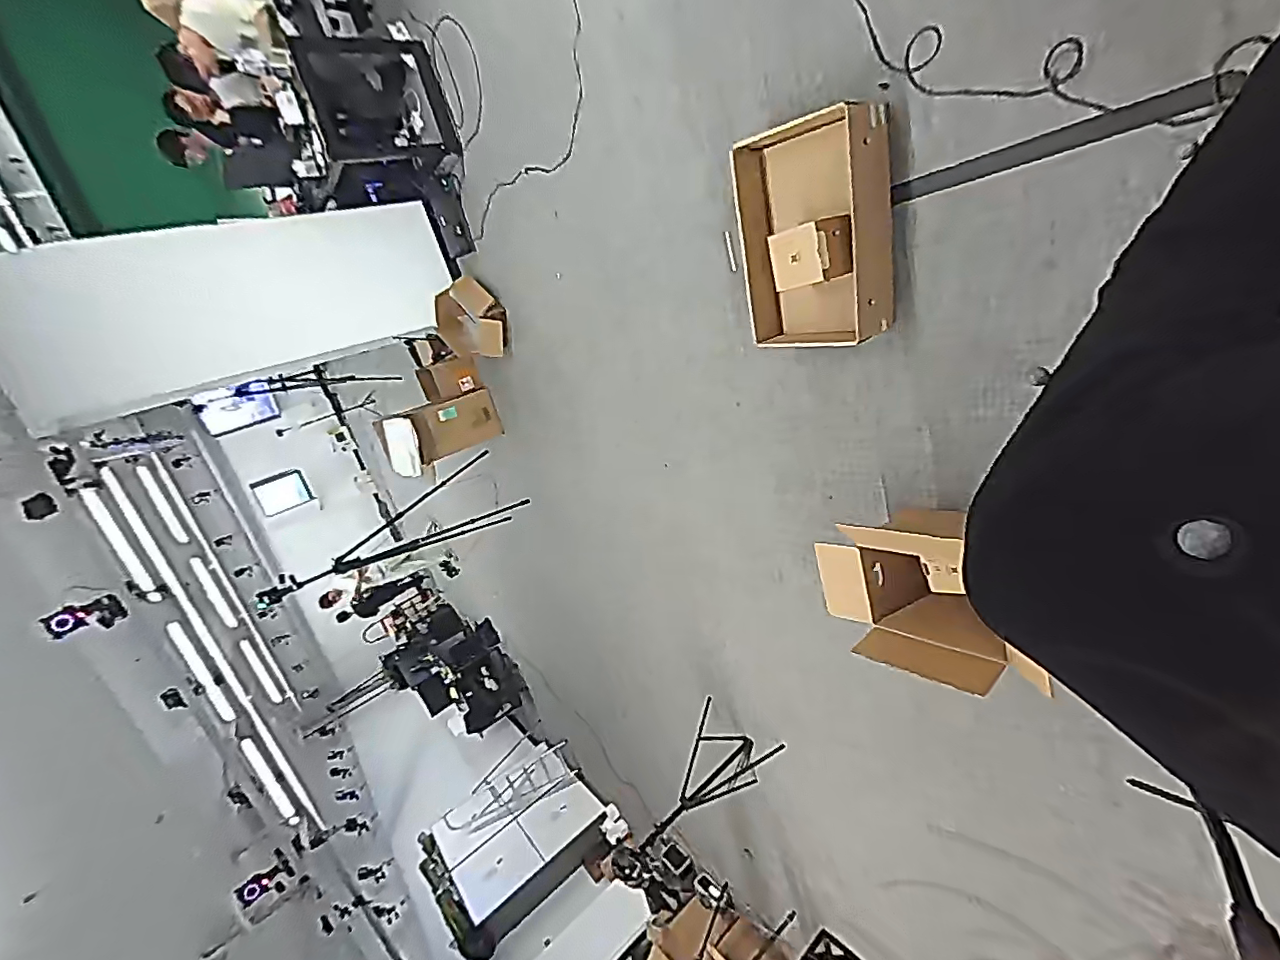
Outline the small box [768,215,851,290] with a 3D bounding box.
[{"bbox_3d":[0.517,-0.685,1.627,0.179,0.176,0.168,9,119,53],"label":"small box"}]
